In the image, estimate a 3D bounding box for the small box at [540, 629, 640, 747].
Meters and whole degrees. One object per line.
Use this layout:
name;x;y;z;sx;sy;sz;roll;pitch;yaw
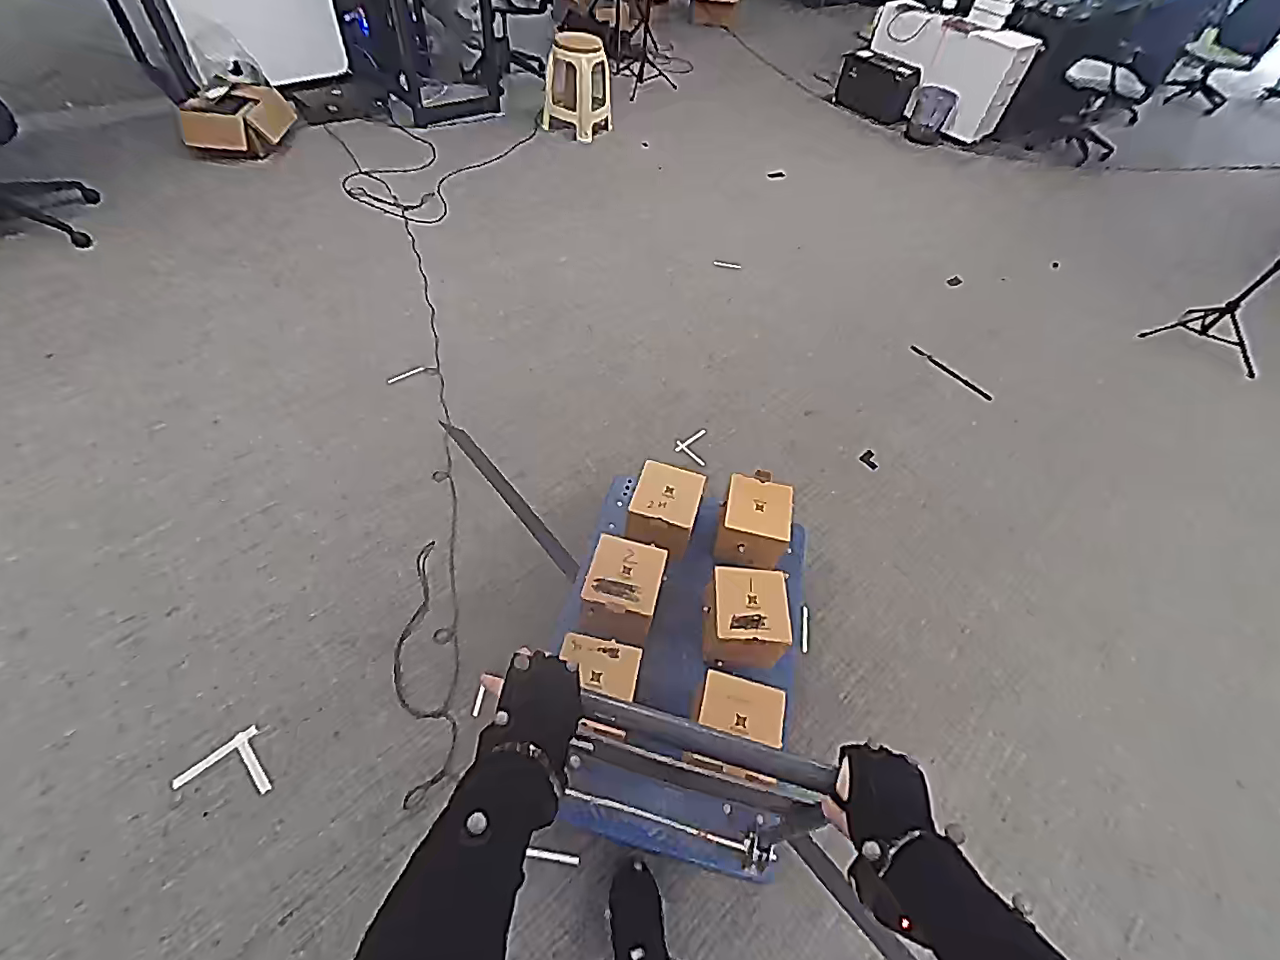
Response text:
small box;-0.103;0.446;1.145;0.168;0.176;0.179;13;53;2

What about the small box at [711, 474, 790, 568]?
small box;0.292;0.114;1.449;0.168;0.176;0.179;13;53;3

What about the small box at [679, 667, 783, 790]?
small box;0.185;0.522;1.127;0.168;0.176;0.179;16;52;4

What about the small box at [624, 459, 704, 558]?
small box;0.059;0.079;1.442;0.168;0.176;0.179;17;54;6

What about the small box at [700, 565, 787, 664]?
small box;0.238;0.323;1.283;0.168;0.176;0.179;6;52;-3
